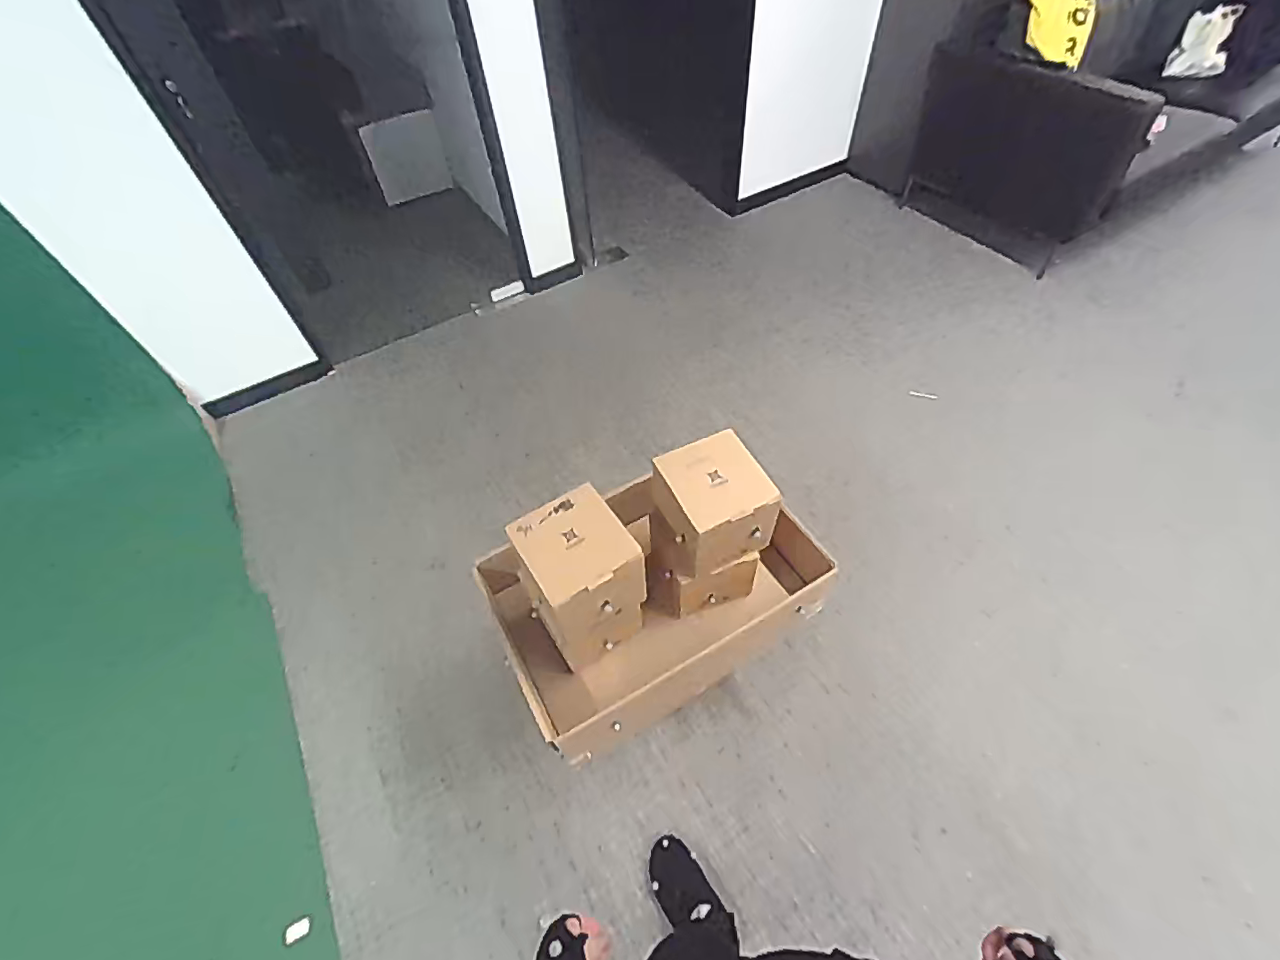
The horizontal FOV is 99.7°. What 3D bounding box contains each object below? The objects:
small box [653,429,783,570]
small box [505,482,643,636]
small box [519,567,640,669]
[{"bbox_3d":[0.135,0.043,0.990,0.168,0.176,0.179,-20,55,-13],"label":"small box"},{"bbox_3d":[-0.105,0.143,0.924,0.168,0.176,0.179,-28,57,-18],"label":"small box"},{"bbox_3d":[-0.113,0.236,1.060,0.168,0.176,0.179,-29,57,-17],"label":"small box"}]
